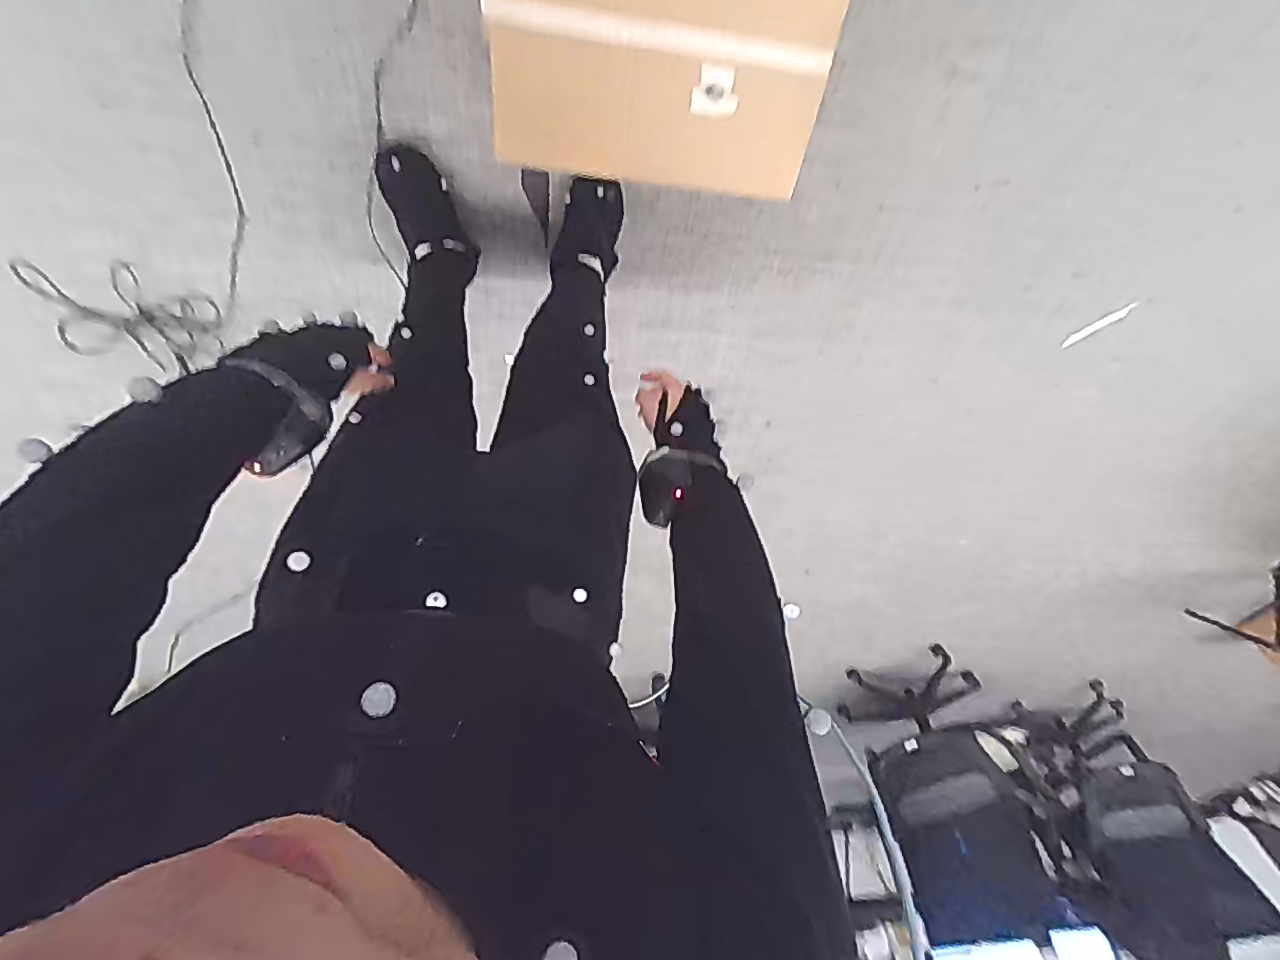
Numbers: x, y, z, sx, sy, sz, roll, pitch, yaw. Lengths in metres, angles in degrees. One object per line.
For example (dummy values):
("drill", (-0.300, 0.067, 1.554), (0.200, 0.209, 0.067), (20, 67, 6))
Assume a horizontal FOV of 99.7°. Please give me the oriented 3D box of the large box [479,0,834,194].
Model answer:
("large box", (0.004, -0.615, 0.729), (0.408, 0.320, 0.320), (2, 134, -9))
